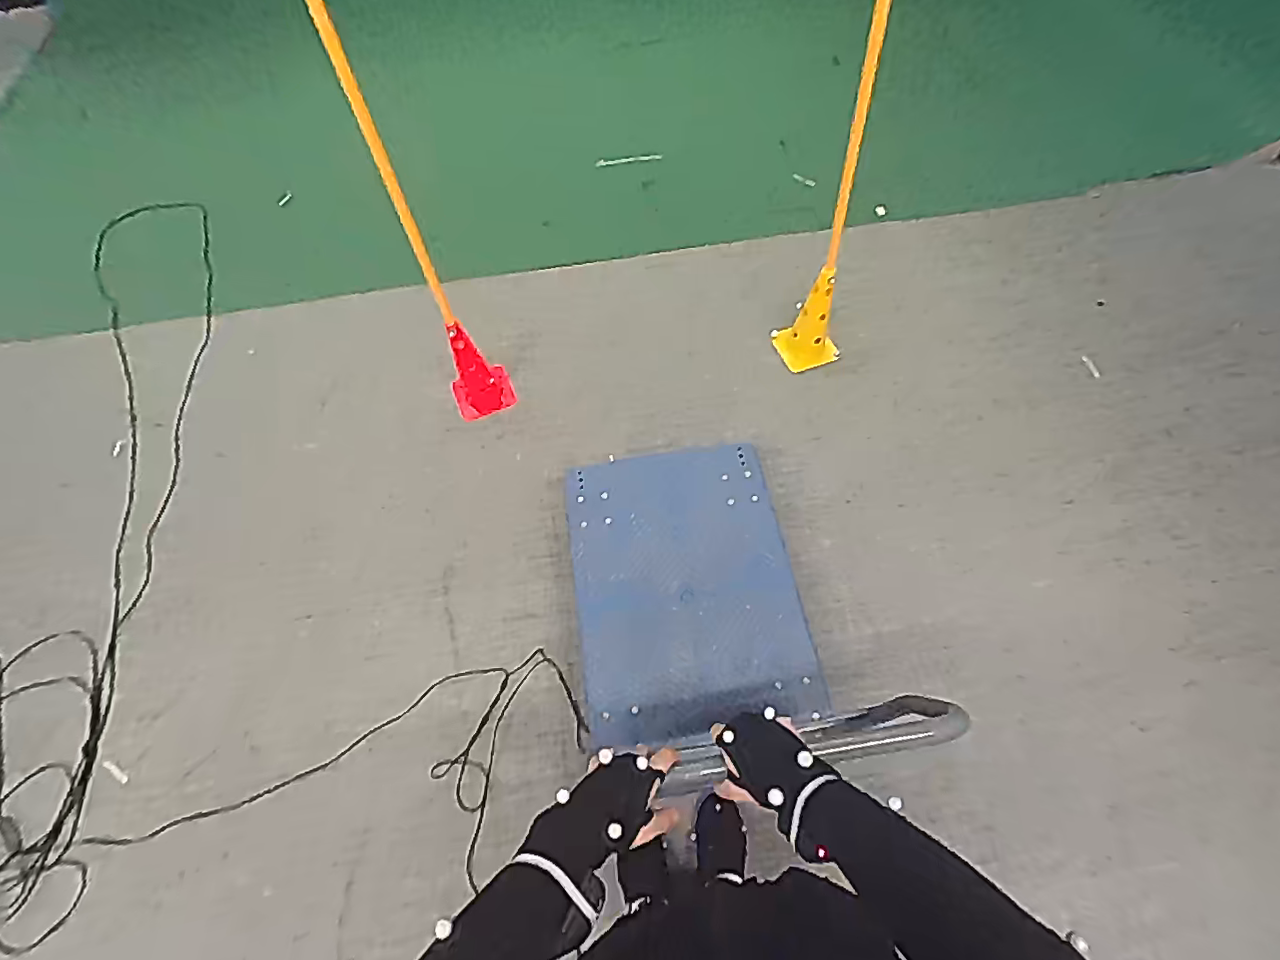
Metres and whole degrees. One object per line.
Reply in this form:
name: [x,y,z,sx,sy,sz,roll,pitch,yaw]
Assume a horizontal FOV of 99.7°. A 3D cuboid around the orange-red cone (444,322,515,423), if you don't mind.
orange-red cone: [-0.573,-0.384,1.799,0.199,0.360,0.198,-23,63,-8]
